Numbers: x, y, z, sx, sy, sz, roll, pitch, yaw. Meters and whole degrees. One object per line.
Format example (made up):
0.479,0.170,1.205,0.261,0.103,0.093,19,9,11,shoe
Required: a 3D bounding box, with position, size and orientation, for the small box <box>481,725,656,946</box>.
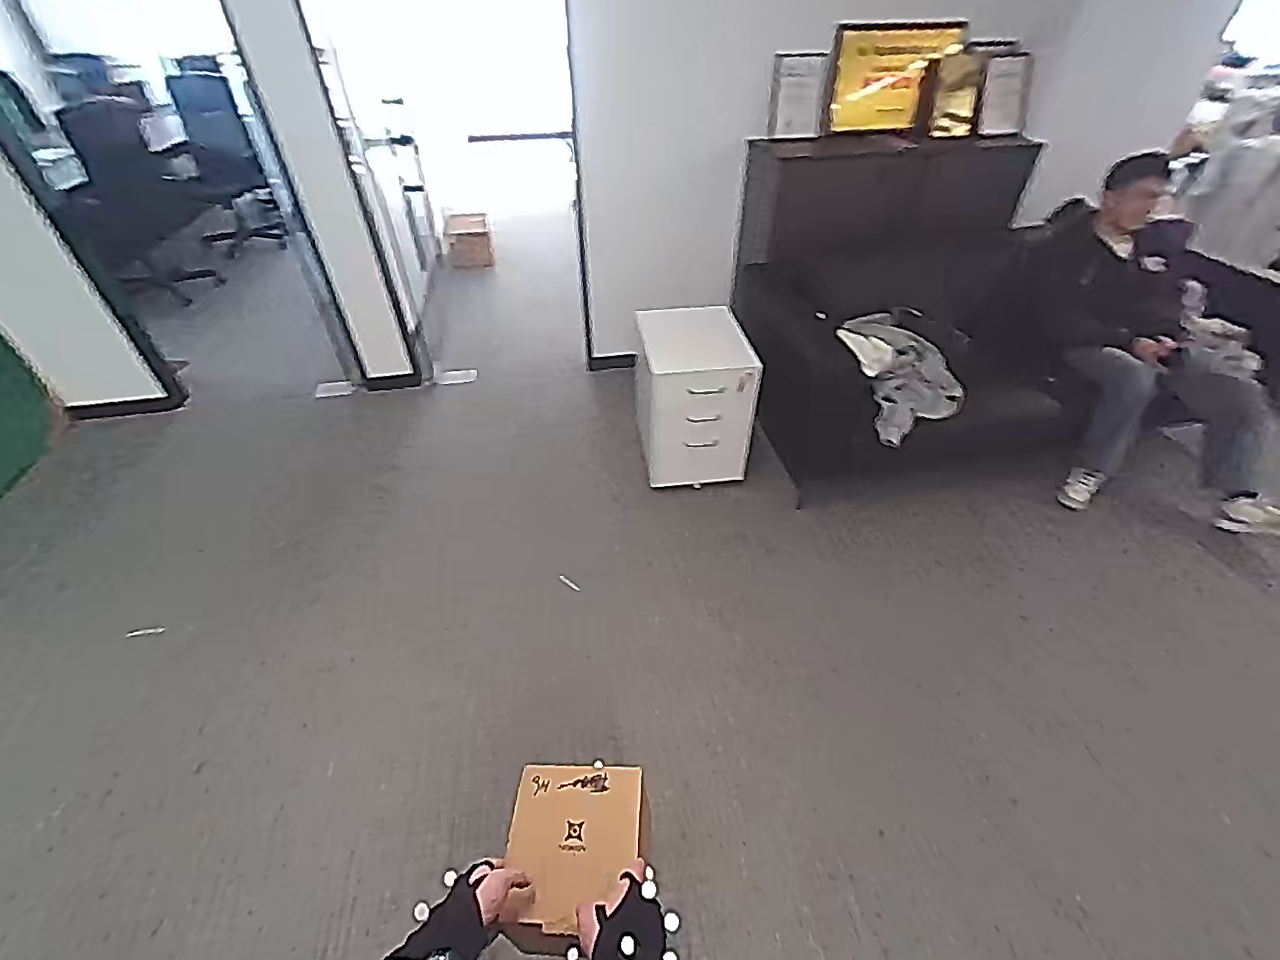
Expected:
-0.093,0.482,0.737,0.179,0.176,0.168,-22,42,-17,small box
